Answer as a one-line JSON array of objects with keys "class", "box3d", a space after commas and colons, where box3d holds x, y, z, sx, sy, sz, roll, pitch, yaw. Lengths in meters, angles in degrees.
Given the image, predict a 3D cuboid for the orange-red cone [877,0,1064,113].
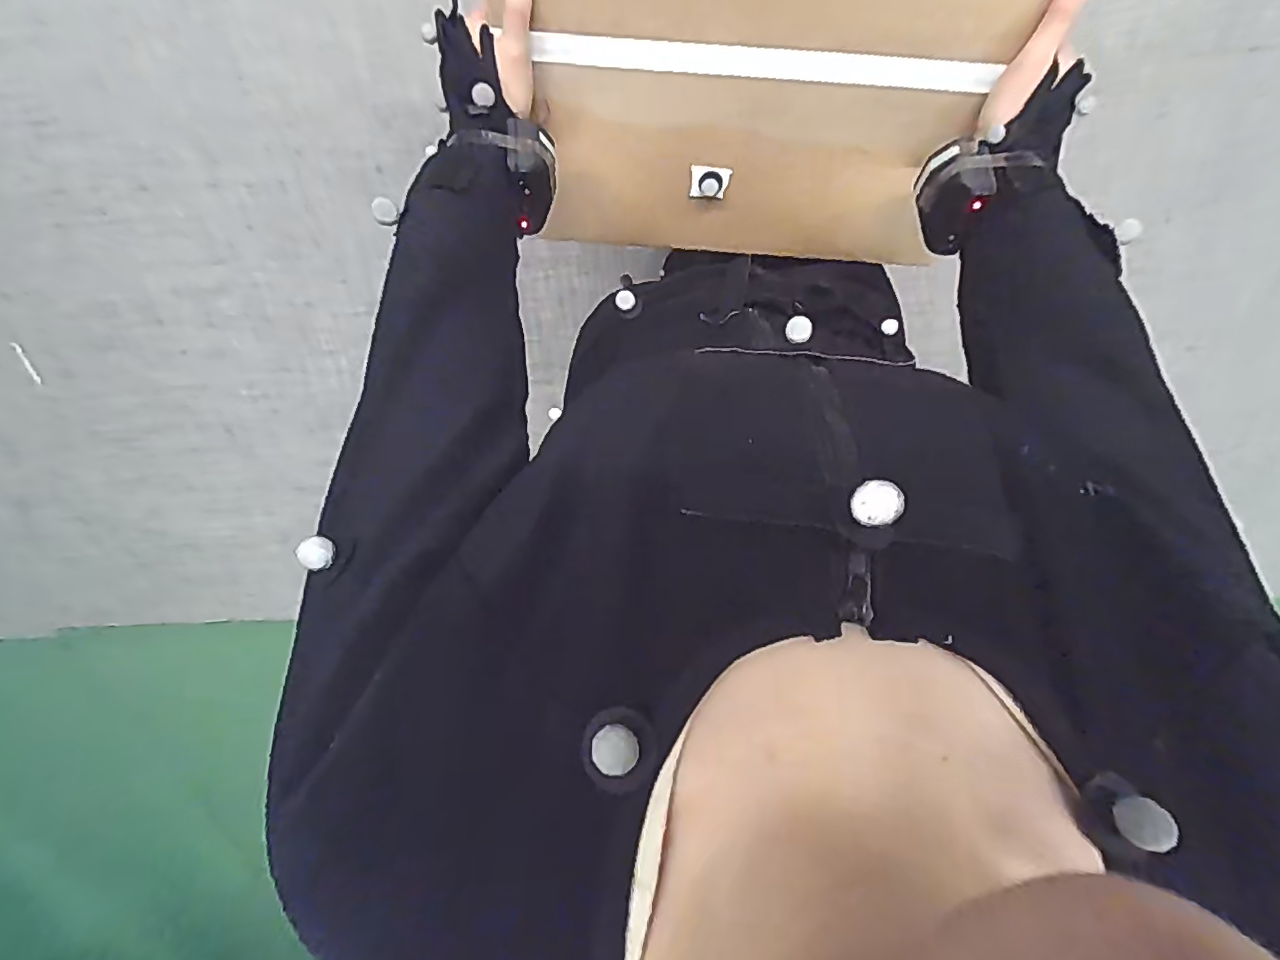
[{"class": "orange-red cone", "box3d": [0.547, -0.711, 0.819, 0.199, 0.360, 0.198, 15, 119, -7]}]
